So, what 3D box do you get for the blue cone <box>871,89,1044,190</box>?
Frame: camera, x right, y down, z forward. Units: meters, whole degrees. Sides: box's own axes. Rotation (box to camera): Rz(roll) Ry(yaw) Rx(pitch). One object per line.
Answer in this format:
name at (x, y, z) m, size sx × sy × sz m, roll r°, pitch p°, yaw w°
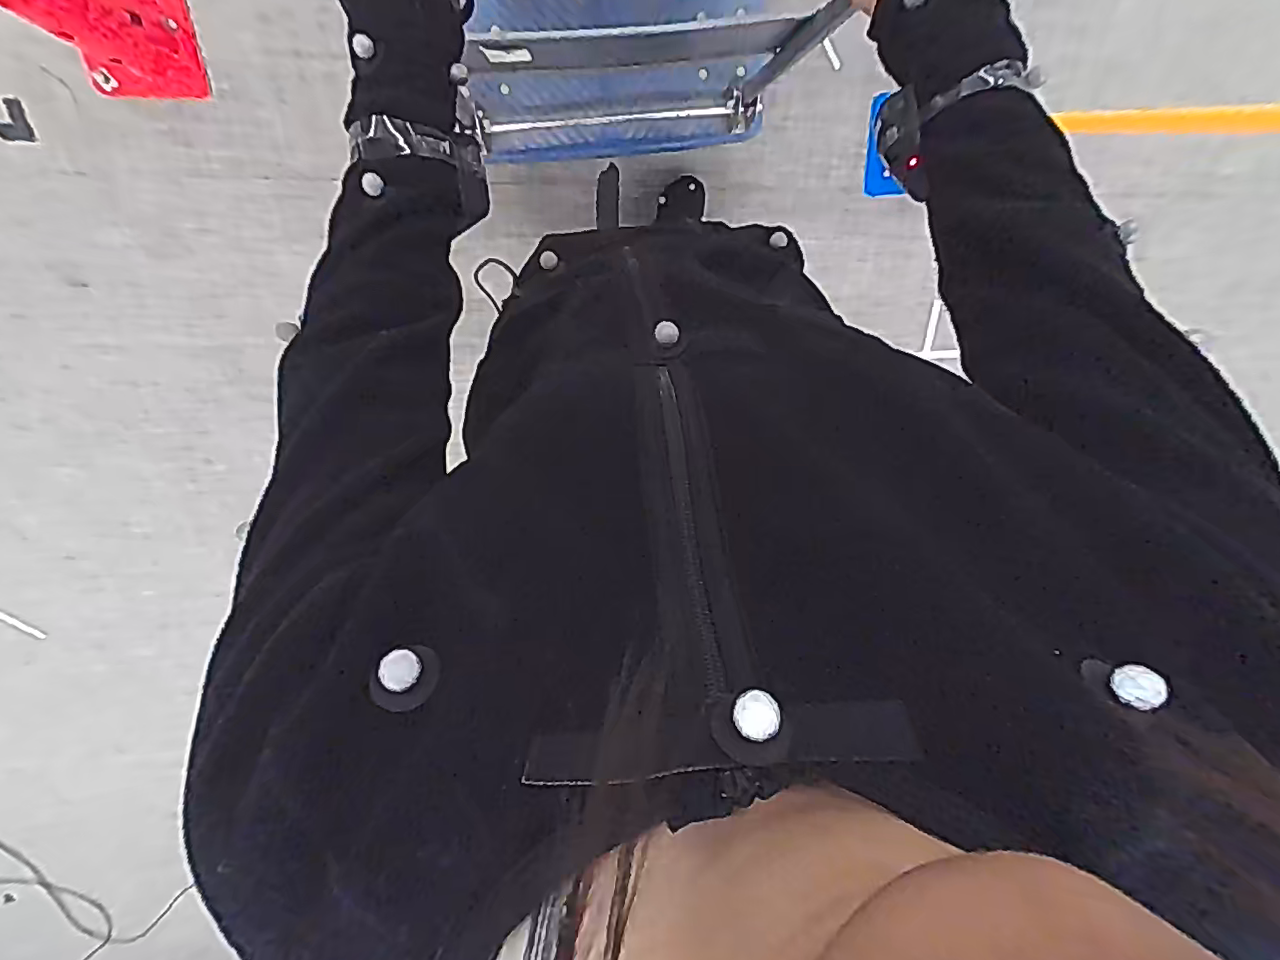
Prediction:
blue cone at (0.638, -0.695, 1.074) m, size 0.193 × 0.380 × 0.192 m, roll -6°, pitch 116°, yaw -6°
